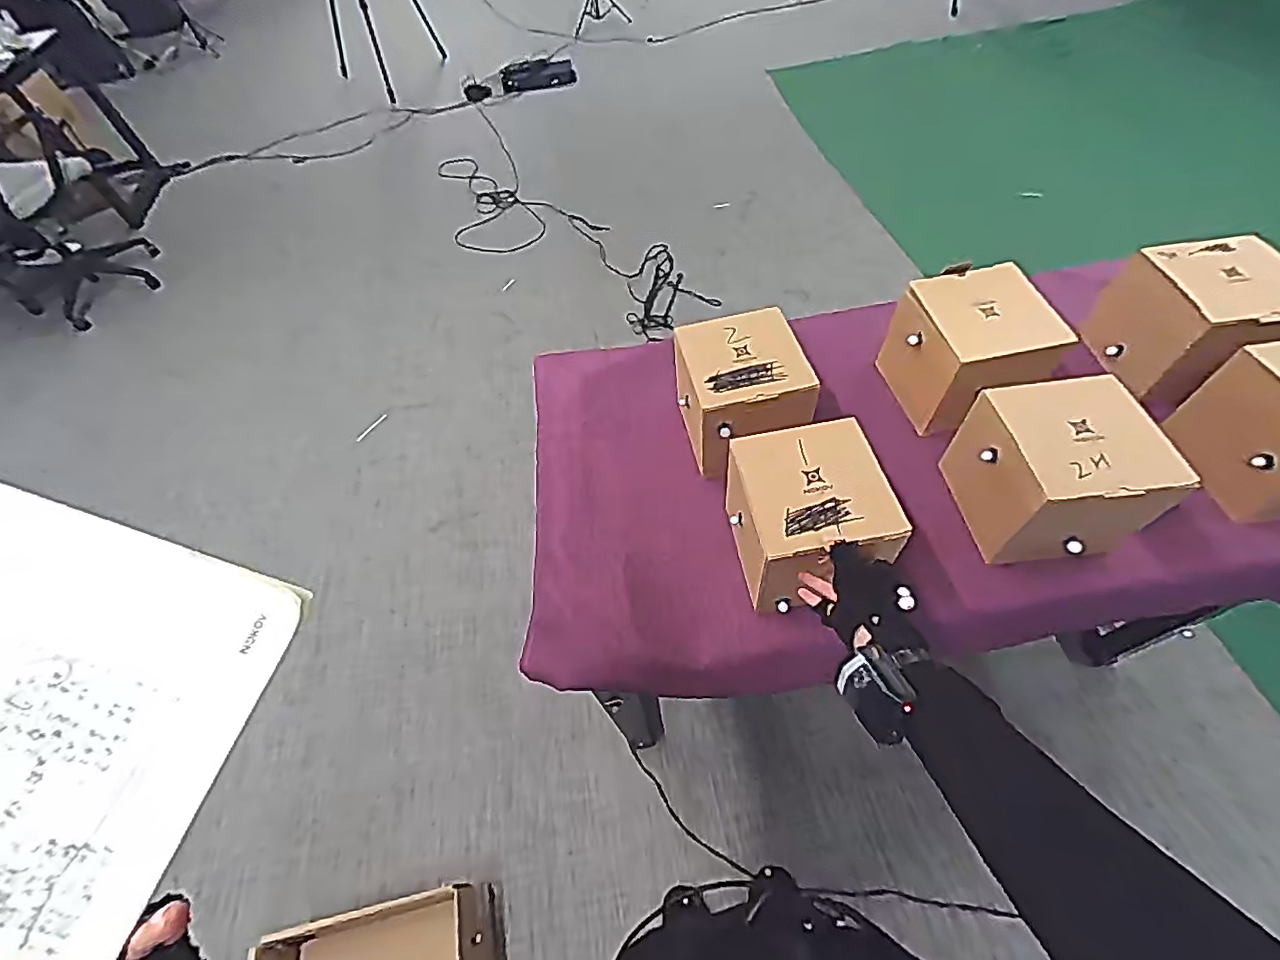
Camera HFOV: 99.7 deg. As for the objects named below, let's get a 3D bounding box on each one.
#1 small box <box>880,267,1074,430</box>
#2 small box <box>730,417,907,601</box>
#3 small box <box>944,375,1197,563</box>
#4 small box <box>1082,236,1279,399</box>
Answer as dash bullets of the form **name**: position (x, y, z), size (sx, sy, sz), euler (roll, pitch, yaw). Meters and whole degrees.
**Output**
- **small box**: position (0.504, -0.195, 0.842), size (0.168, 0.176, 0.179), euler (-11, 55, -1)
- **small box**: position (0.216, 0.046, 0.709), size (0.168, 0.176, 0.179), euler (-9, 55, 1)
- **small box**: position (0.534, -0.011, 0.709), size (0.168, 0.176, 0.179), euler (-7, 55, 3)
- **small box**: position (0.841, -0.239, 0.827), size (0.168, 0.176, 0.179), euler (-5, 56, 3)
